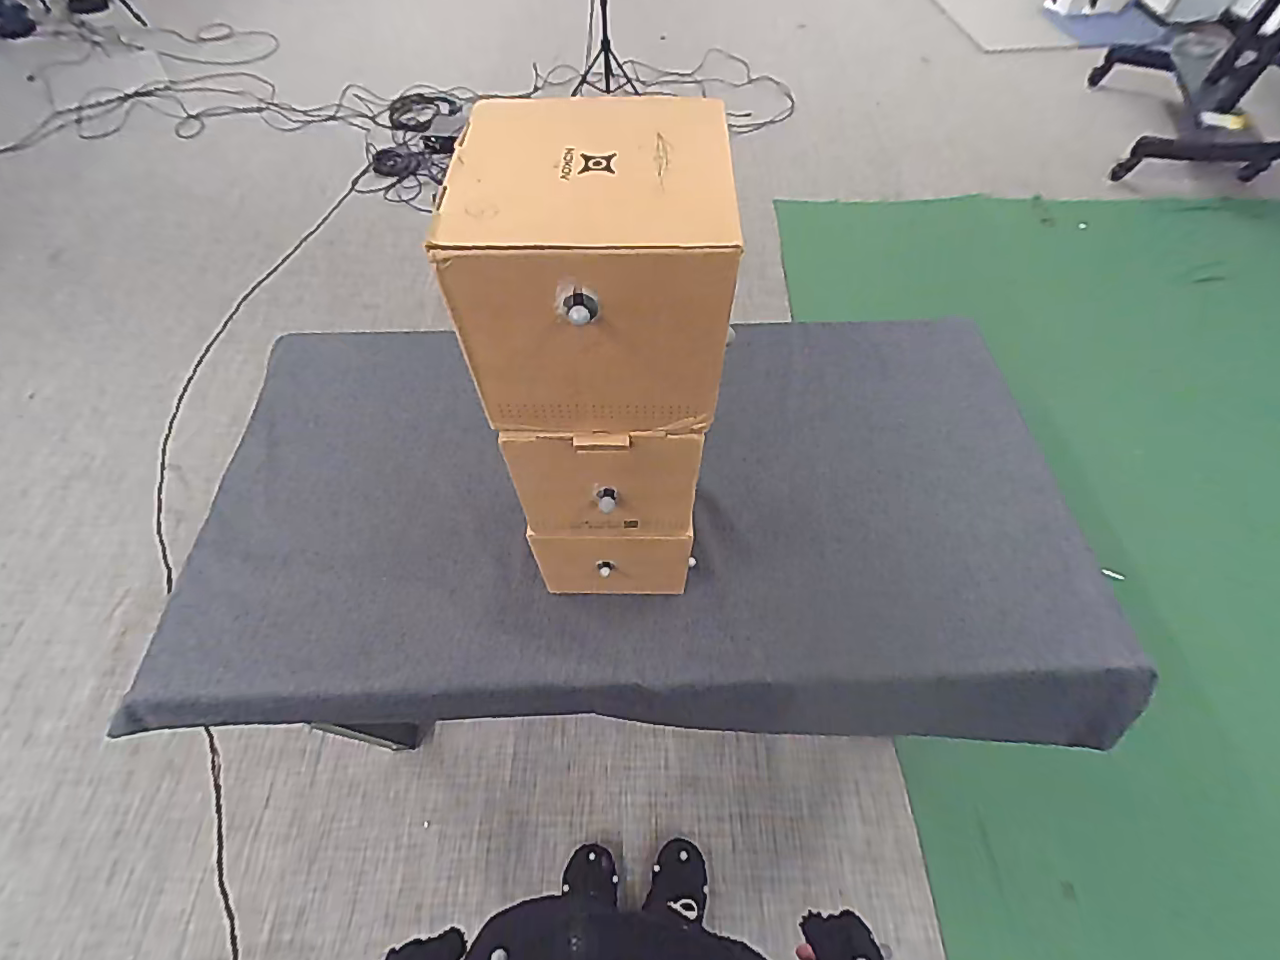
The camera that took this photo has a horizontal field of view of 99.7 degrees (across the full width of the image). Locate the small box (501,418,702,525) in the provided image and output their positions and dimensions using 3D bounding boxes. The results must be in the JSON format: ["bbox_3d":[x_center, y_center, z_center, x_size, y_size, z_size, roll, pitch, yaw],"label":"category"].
[{"bbox_3d":[-0.029,-0.064,0.539,0.168,0.176,0.179,-1,58,0],"label":"small box"}]

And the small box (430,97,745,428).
[{"bbox_3d":[-0.028,-0.151,0.402,0.179,0.176,0.168,0,59,0],"label":"small box"}]

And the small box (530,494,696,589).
[{"bbox_3d":[-0.027,0.029,0.673,0.179,0.176,0.168,0,58,1],"label":"small box"}]
